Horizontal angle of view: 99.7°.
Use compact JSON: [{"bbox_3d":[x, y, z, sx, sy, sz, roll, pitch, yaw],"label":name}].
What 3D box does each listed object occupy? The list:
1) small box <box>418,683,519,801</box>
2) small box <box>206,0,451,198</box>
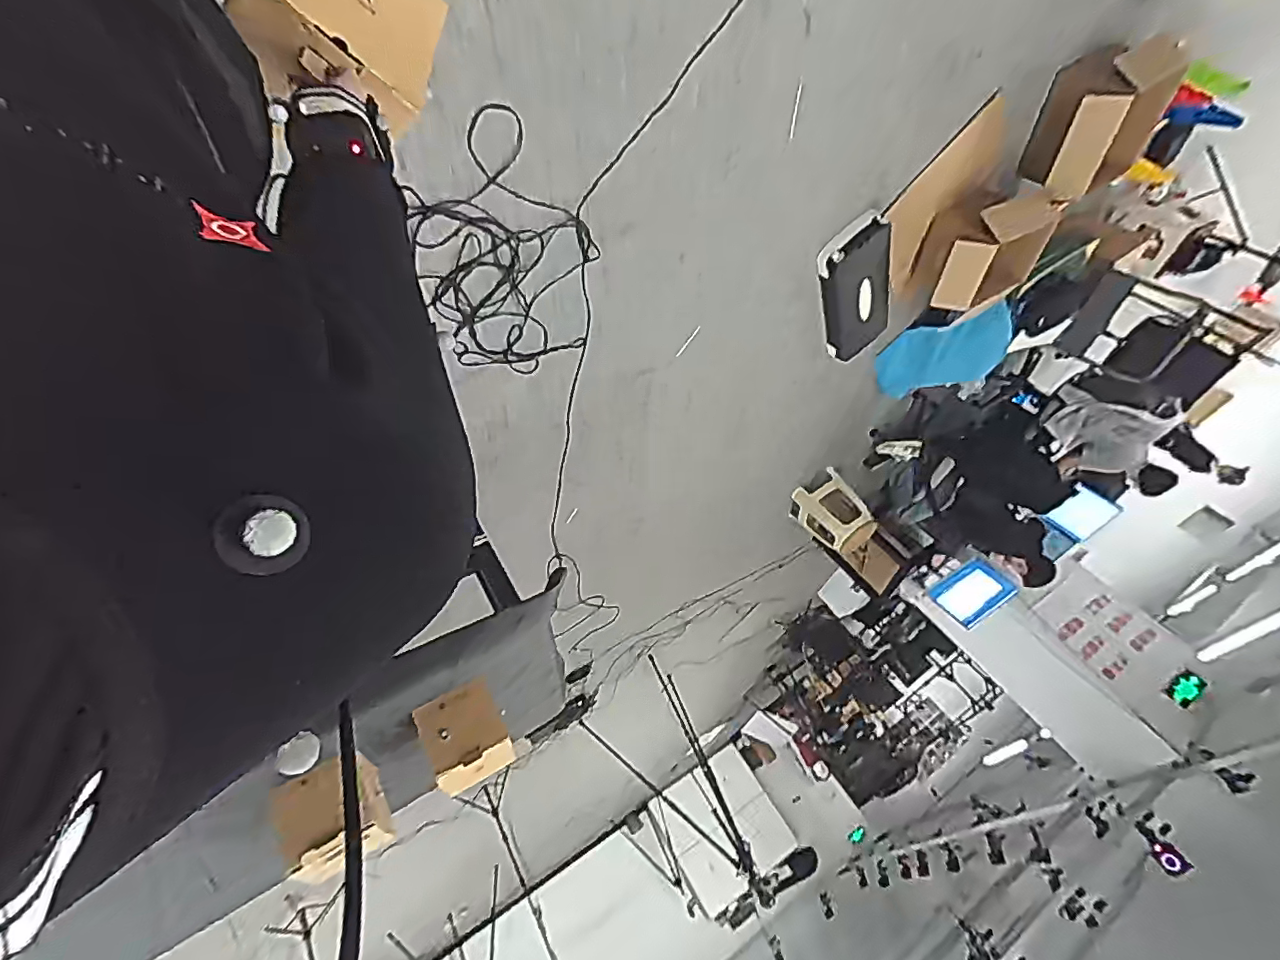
[{"bbox_3d":[-0.397,0.600,1.253,0.168,0.176,0.179,-22,145,-23],"label":"small box"},{"bbox_3d":[-0.334,-0.459,0.588,0.176,0.179,0.168,-15,153,38],"label":"small box"}]
